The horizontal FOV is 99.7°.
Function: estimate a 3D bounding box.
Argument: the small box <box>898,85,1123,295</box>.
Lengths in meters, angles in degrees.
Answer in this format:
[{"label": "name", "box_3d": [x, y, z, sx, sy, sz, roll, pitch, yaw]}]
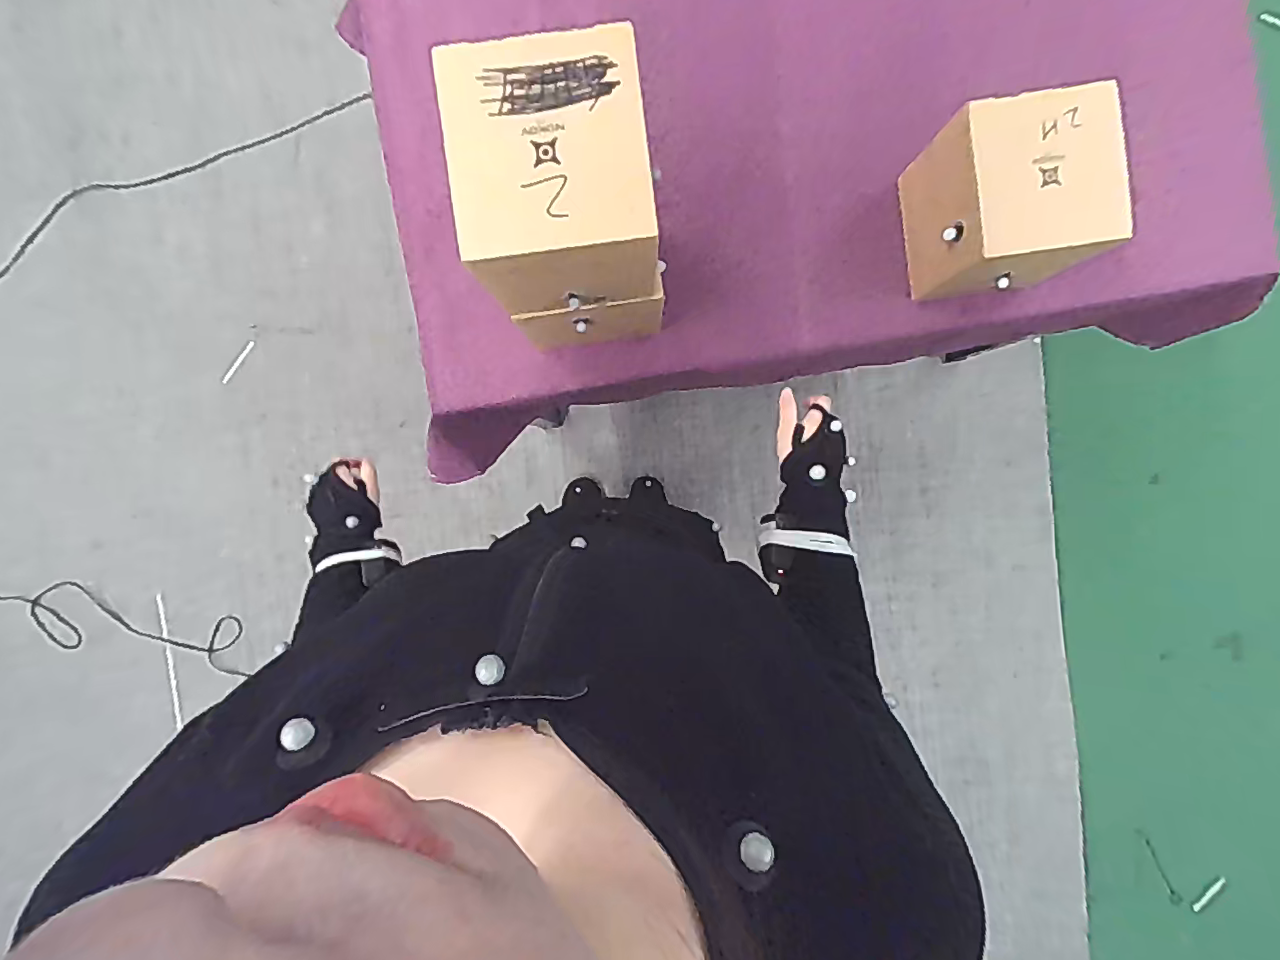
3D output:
[{"label": "small box", "box_3d": [0.447, -0.343, 0.678, 0.168, 0.176, 0.179, -7, 92, 0]}]

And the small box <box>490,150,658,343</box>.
[{"label": "small box", "box_3d": [-0.073, -0.279, 0.686, 0.179, 0.176, 0.168, -8, 92, 0]}]
